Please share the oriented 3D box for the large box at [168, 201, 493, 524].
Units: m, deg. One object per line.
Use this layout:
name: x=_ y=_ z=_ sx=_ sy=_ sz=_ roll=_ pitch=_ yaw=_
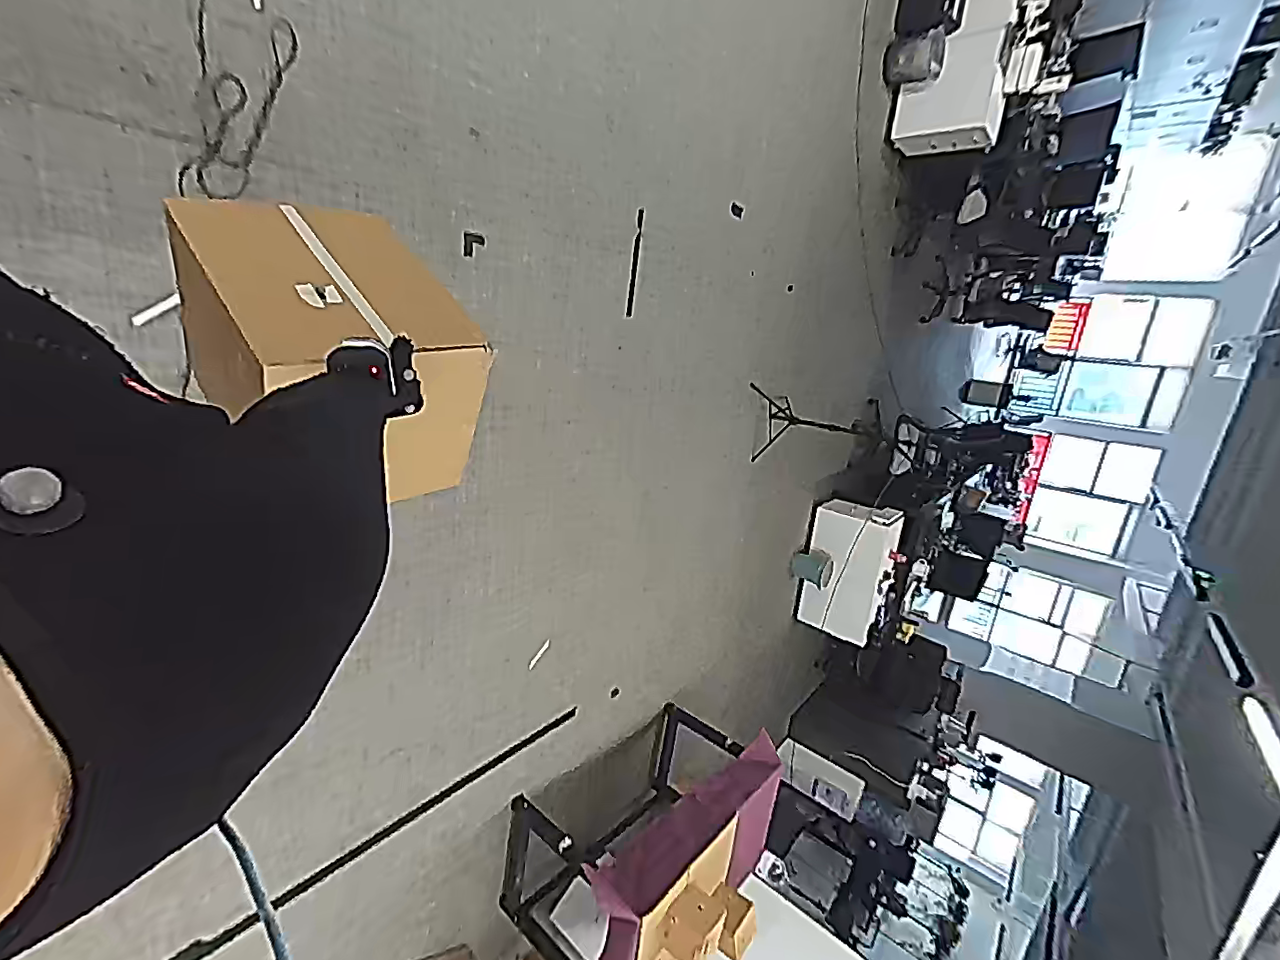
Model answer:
large box: x=-0.517 y=-0.202 z=0.910 sx=0.320 sy=0.408 sz=0.320 roll=-21 pitch=151 yaw=-43
